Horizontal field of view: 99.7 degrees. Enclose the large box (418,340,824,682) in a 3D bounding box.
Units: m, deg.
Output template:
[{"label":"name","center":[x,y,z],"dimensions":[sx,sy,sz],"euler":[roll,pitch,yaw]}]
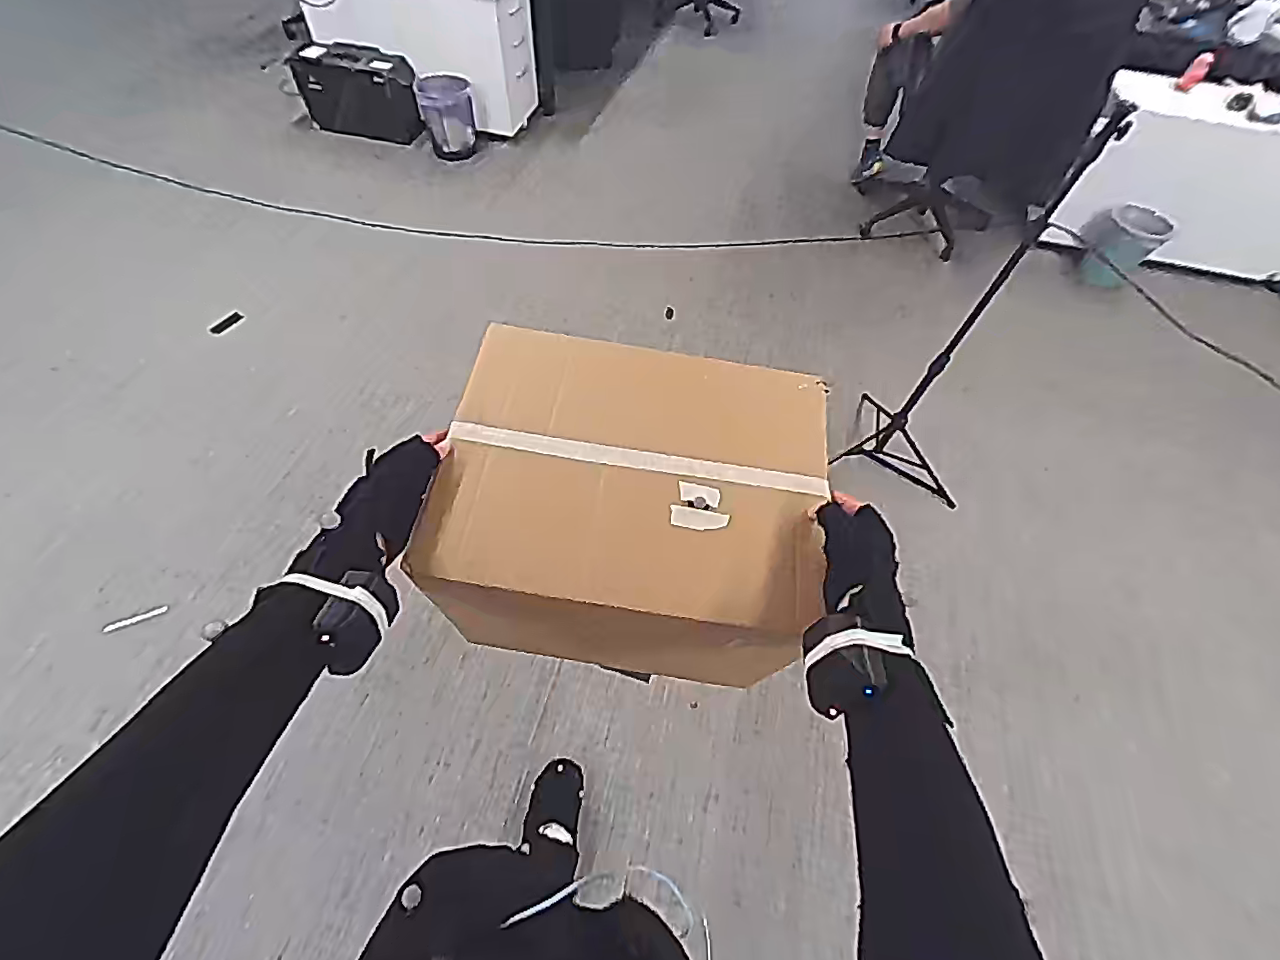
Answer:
[{"label":"large box","center":[-0.015,0.059,0.718],"dimensions":[0.408,0.320,0.320],"euler":[10,61,-1]}]
